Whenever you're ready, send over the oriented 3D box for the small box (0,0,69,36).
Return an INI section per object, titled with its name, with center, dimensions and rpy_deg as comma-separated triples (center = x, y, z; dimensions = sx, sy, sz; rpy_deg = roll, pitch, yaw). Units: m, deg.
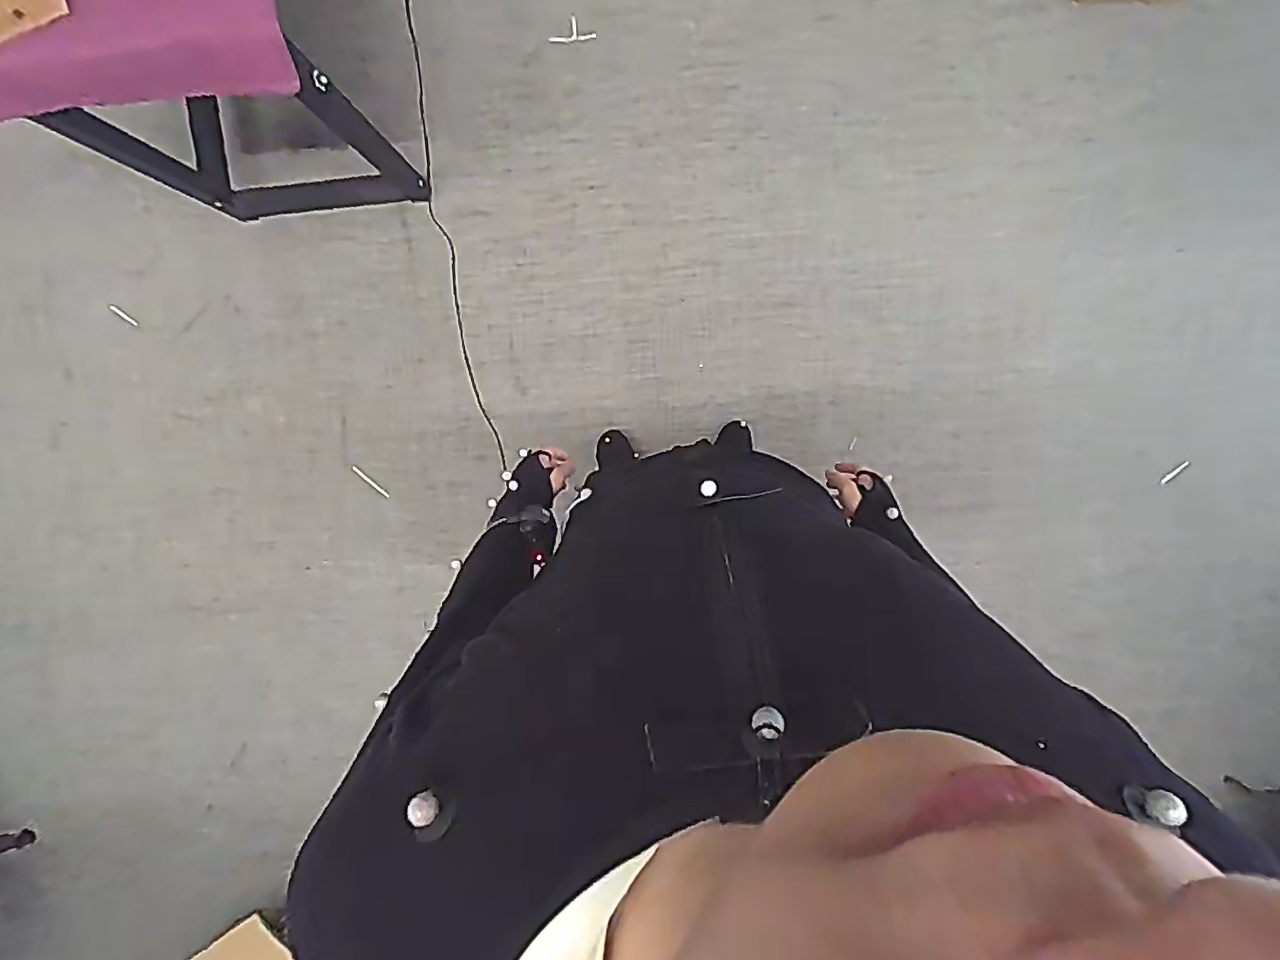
[small box]
center = -0.992, -0.782, 0.769
dimensions = 0.168, 0.176, 0.179
rpy_deg = -18, 95, 3
